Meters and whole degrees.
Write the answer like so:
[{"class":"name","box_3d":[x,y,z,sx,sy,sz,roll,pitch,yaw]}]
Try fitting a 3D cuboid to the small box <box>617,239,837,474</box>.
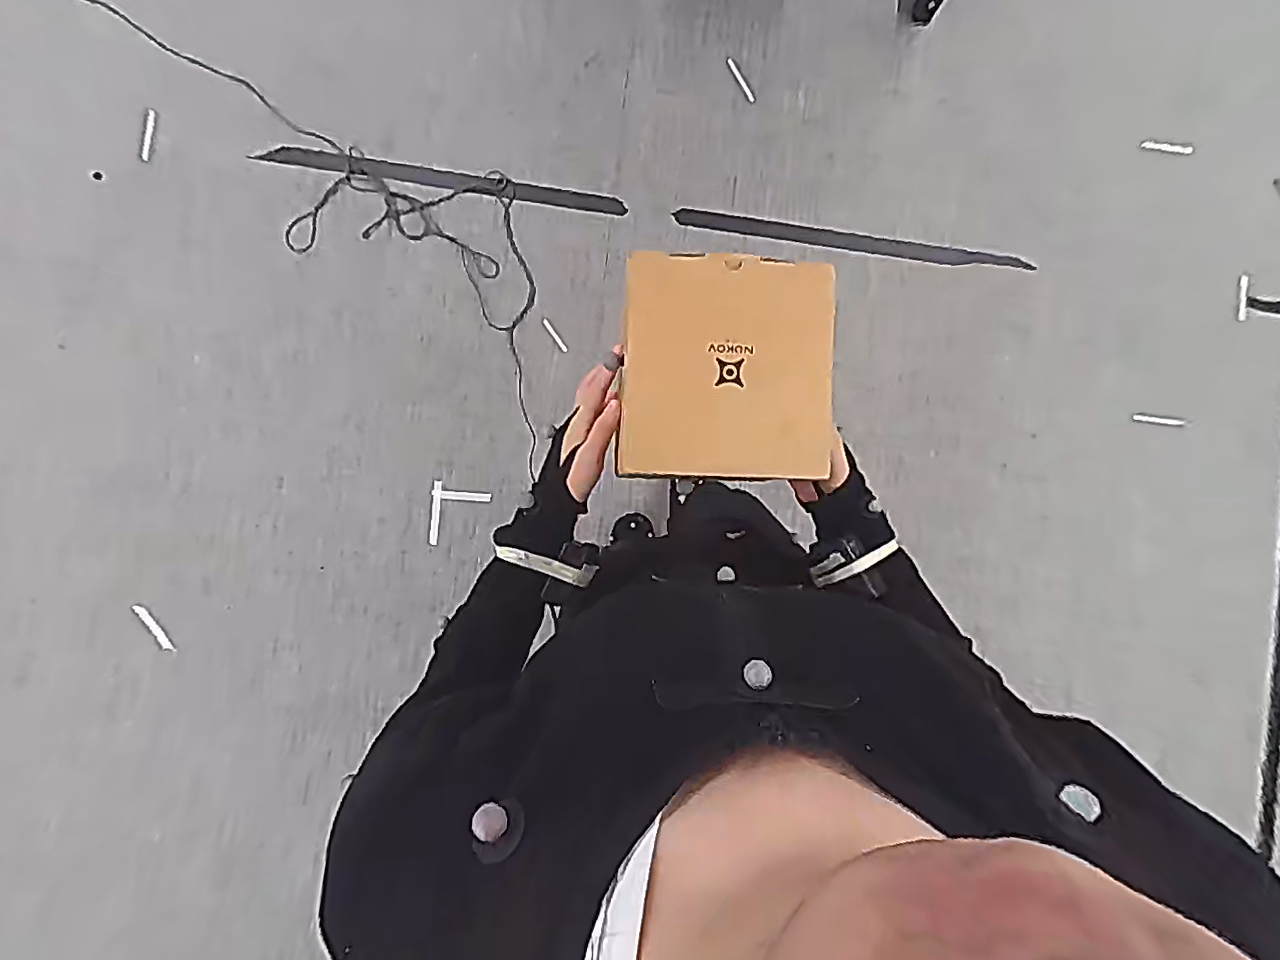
[{"class":"small box","box_3d":[0.066,-0.095,0.498,0.168,0.176,0.179,1,88,-4]}]
